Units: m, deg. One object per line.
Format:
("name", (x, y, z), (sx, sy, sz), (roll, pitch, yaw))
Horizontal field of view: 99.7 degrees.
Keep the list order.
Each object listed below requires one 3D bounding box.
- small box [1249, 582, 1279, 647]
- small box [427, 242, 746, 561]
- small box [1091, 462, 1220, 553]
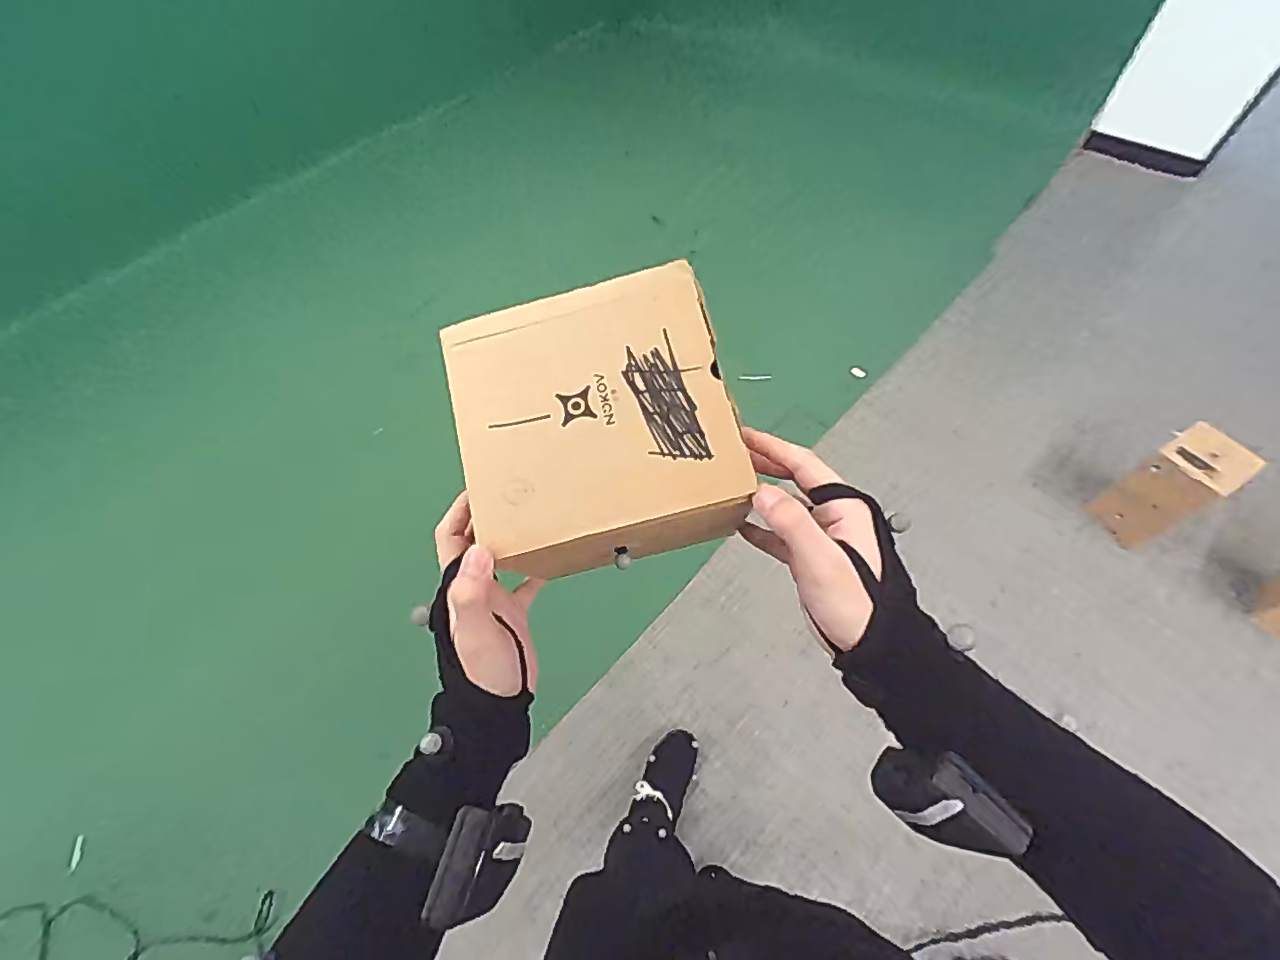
("small box", (1.721, 0.352, 1.364), (0.179, 0.176, 0.168), (-41, 65, -18))
("small box", (-0.032, -0.039, 0.403), (0.179, 0.176, 0.168), (-12, 76, 3))
("small box", (1.444, 0.085, 1.535), (0.179, 0.176, 0.168), (-23, 61, -9))
